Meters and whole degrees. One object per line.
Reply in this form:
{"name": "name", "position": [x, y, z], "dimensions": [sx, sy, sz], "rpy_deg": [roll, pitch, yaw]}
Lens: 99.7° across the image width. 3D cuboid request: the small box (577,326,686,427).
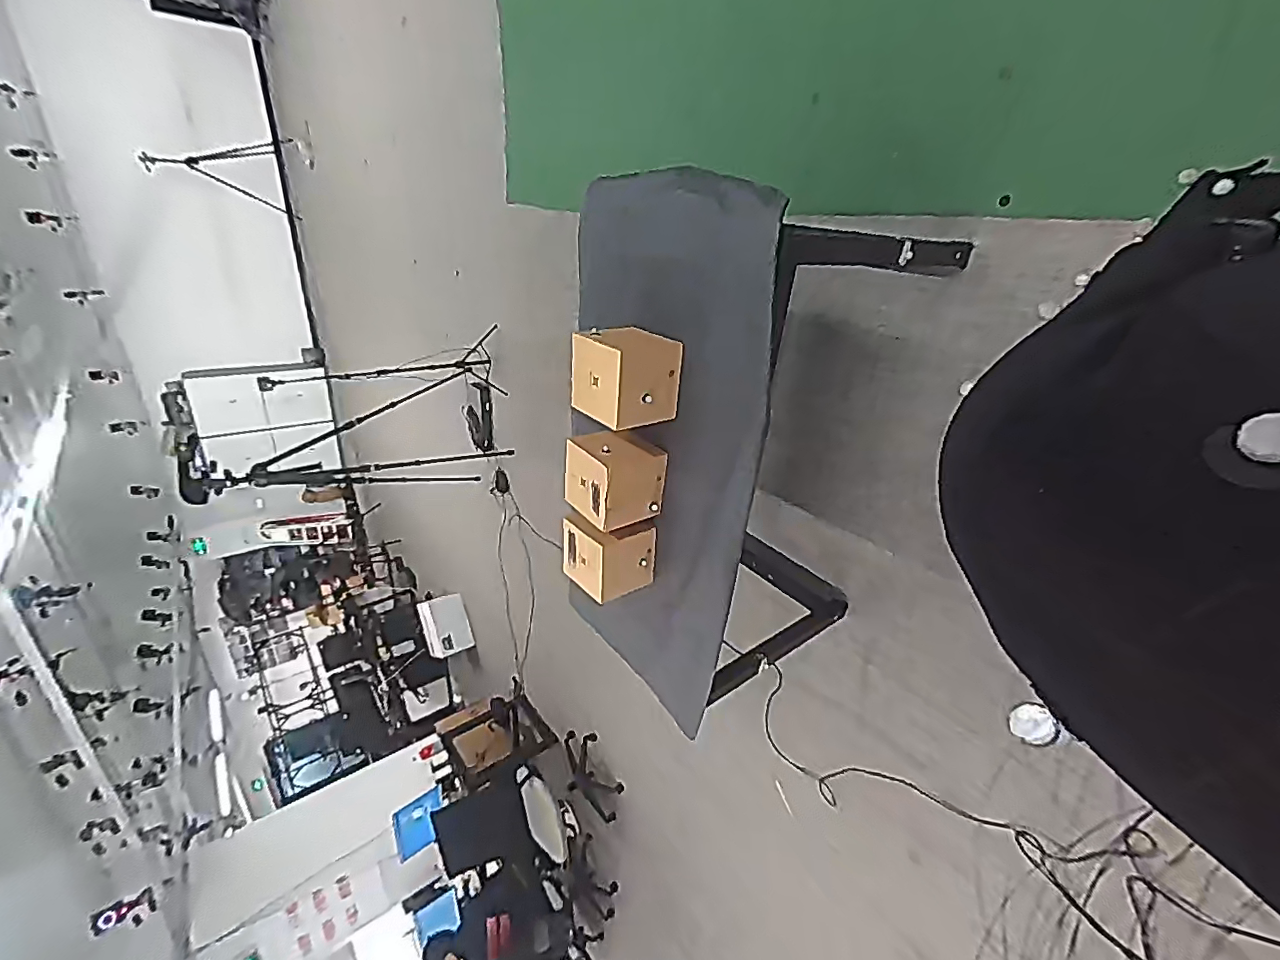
{"name": "small box", "position": [-0.019, -0.231, 1.162], "dimensions": [0.179, 0.176, 0.168], "rpy_deg": [33, 128, 44]}
